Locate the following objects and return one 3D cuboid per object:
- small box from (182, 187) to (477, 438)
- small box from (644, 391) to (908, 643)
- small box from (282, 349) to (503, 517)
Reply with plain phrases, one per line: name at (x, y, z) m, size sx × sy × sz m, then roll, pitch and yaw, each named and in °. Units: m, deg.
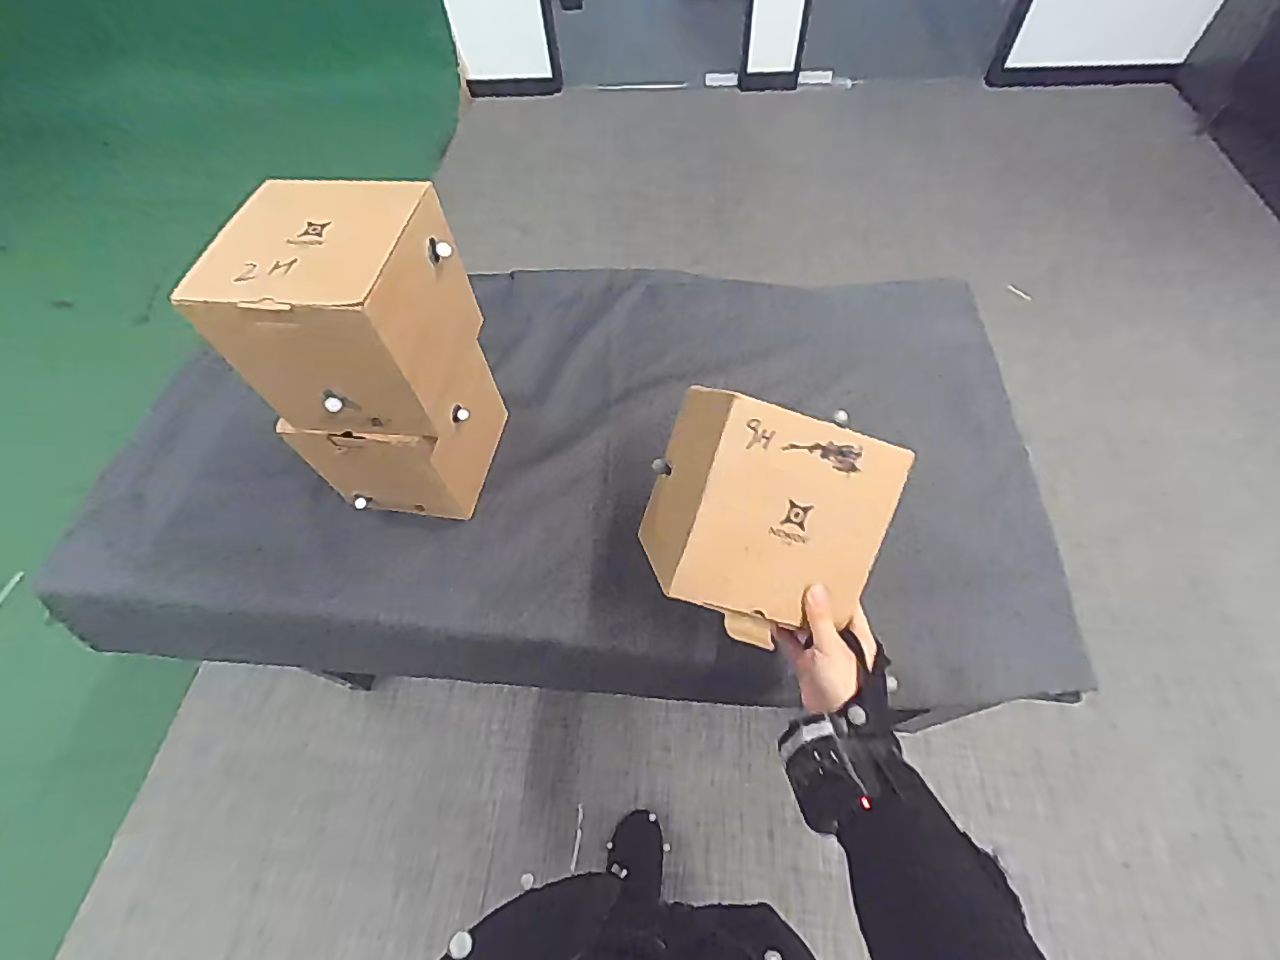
small box at (-0.280, -0.164, 0.542) m, size 0.168 × 0.176 × 0.179 m, roll 3°, pitch 58°, yaw 6°
small box at (0.110, 0.024, 0.523) m, size 0.168 × 0.176 × 0.179 m, roll 17°, pitch 99°, yaw -12°
small box at (-0.288, -0.070, 0.678) m, size 0.168 × 0.176 × 0.179 m, roll 6°, pitch 57°, yaw 7°
